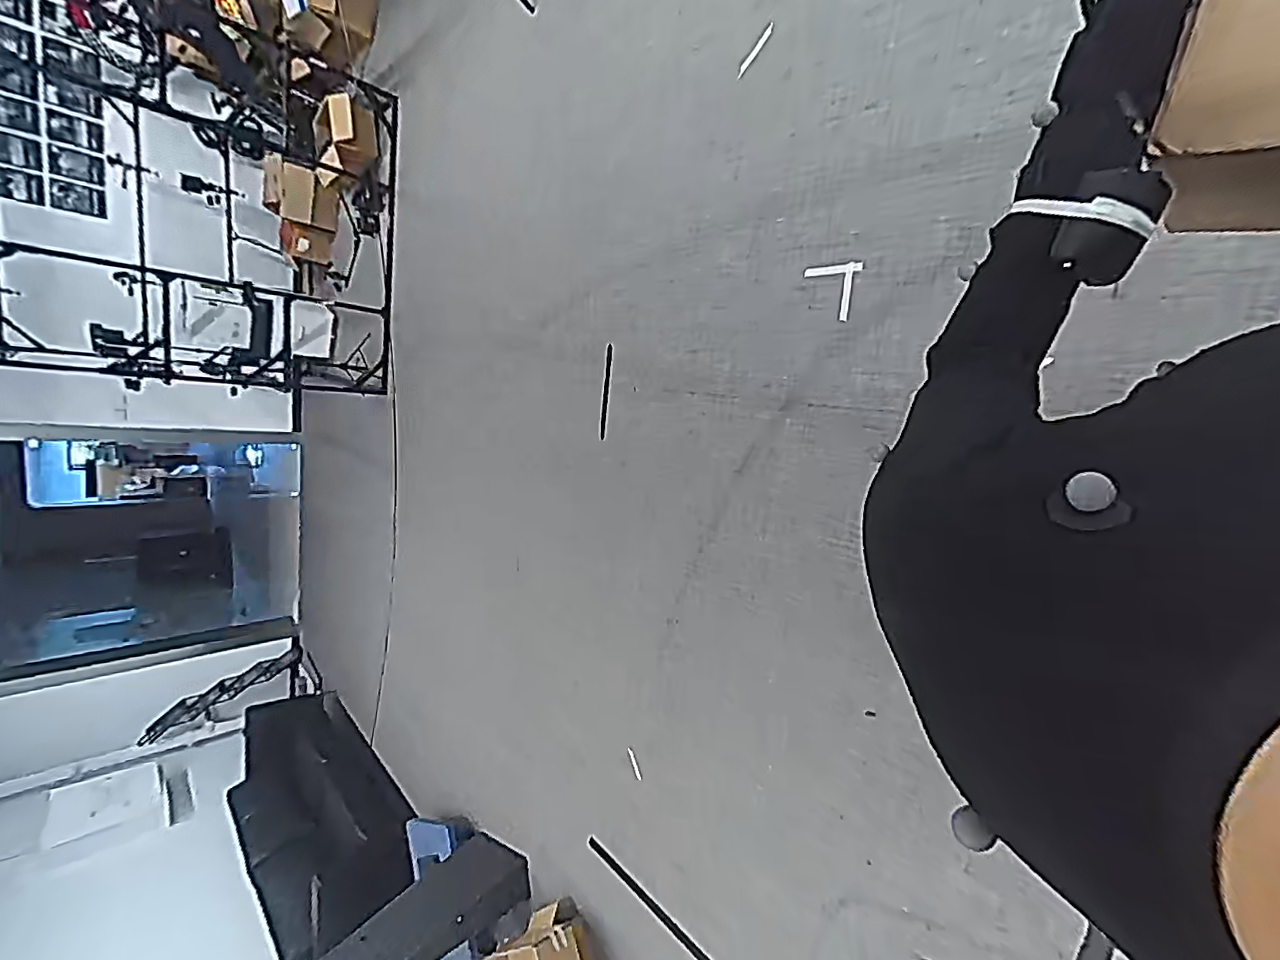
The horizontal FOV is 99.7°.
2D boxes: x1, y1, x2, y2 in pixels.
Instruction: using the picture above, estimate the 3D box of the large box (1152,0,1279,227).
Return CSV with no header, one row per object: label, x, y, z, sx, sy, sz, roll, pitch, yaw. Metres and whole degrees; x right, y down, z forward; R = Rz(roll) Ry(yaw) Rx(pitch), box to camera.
large box,0.617,-0.350,0.316,0.408,0.320,0.320,21,114,41
